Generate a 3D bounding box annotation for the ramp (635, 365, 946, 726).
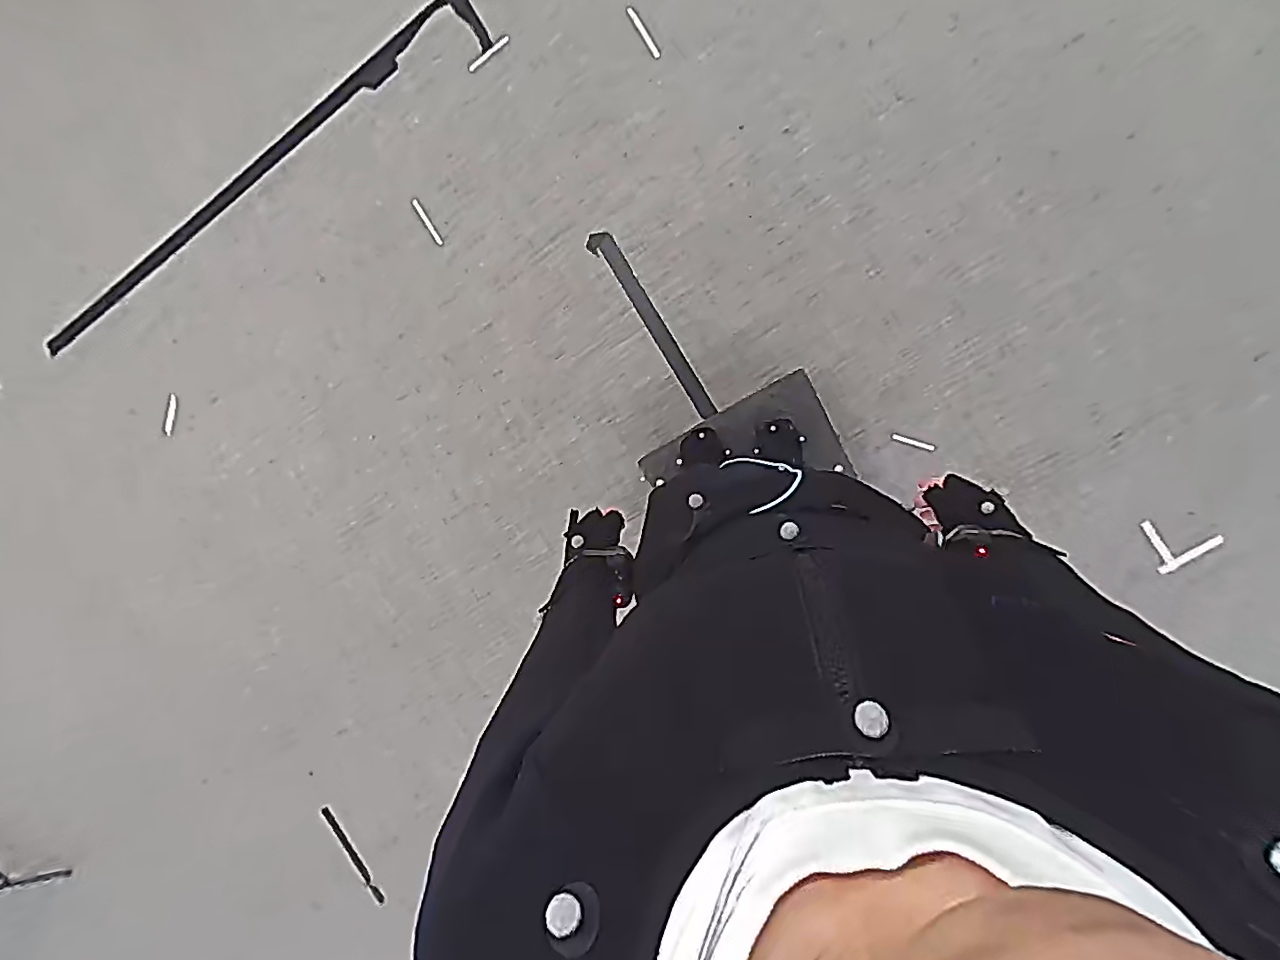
[{"bbox_3d":[0.445,0.230,1.514,0.509,0.206,0.991,-31,93,8],"label":"ramp"}]
